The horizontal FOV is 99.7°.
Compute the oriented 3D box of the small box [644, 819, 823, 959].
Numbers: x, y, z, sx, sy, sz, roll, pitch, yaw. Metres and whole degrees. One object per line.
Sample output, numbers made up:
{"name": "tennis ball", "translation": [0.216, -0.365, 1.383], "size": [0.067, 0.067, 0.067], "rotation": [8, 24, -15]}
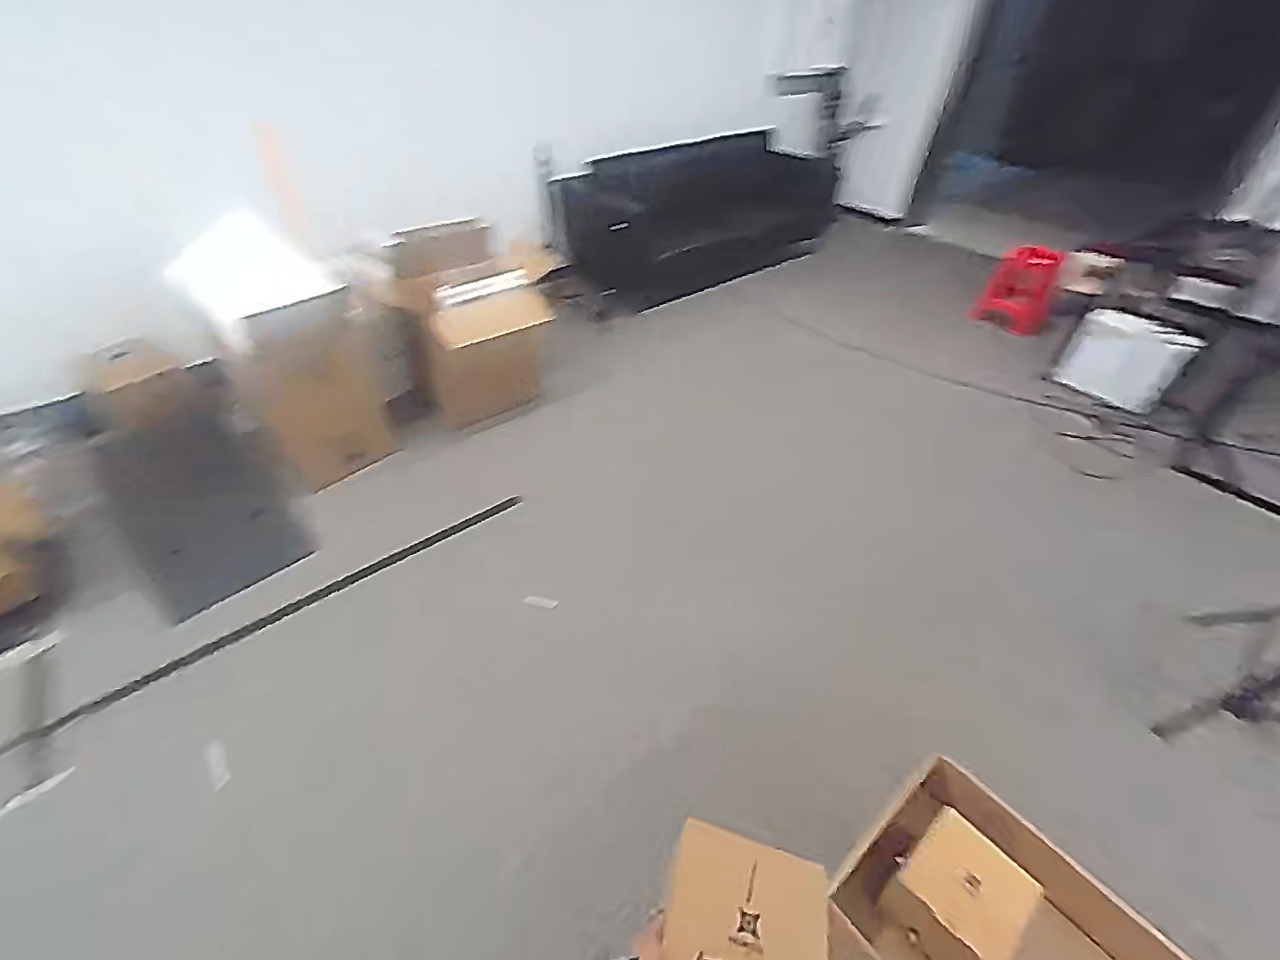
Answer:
{"name": "small box", "translation": [0.095, 0.524, 0.594], "size": [0.168, 0.176, 0.179], "rotation": [14, 36, 9]}

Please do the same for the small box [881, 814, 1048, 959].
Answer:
{"name": "small box", "translation": [0.554, 0.738, 0.944], "size": [0.179, 0.176, 0.168], "rotation": [-28, 49, -29]}
